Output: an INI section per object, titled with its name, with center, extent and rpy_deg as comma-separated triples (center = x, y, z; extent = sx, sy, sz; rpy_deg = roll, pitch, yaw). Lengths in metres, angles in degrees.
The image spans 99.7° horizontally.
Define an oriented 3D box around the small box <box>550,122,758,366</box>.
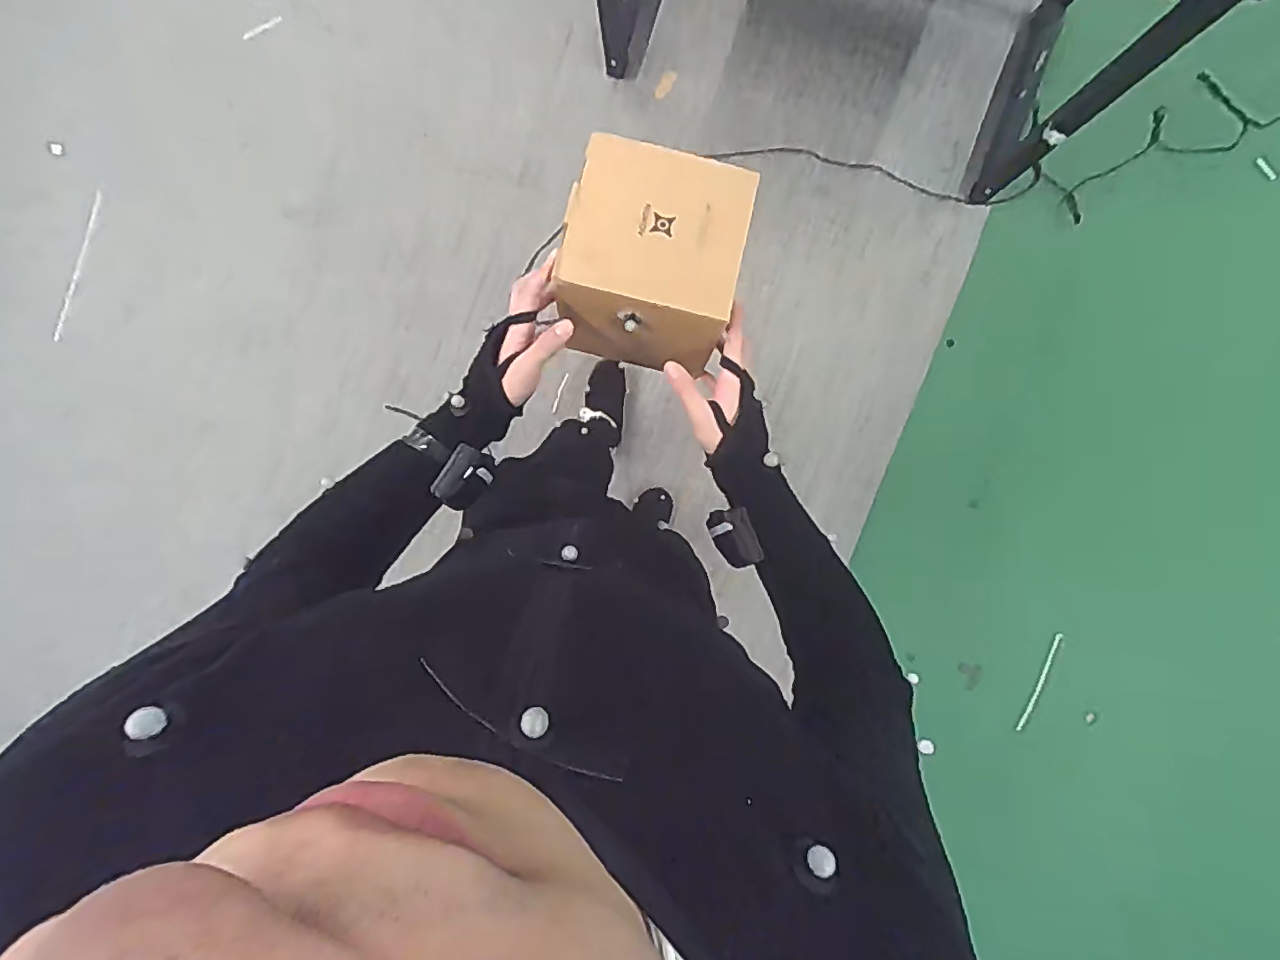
[small box]
center = 0.012, -0.246, 0.603
extent = 0.179, 0.176, 0.168
rpy_deg = 14, 80, -1
